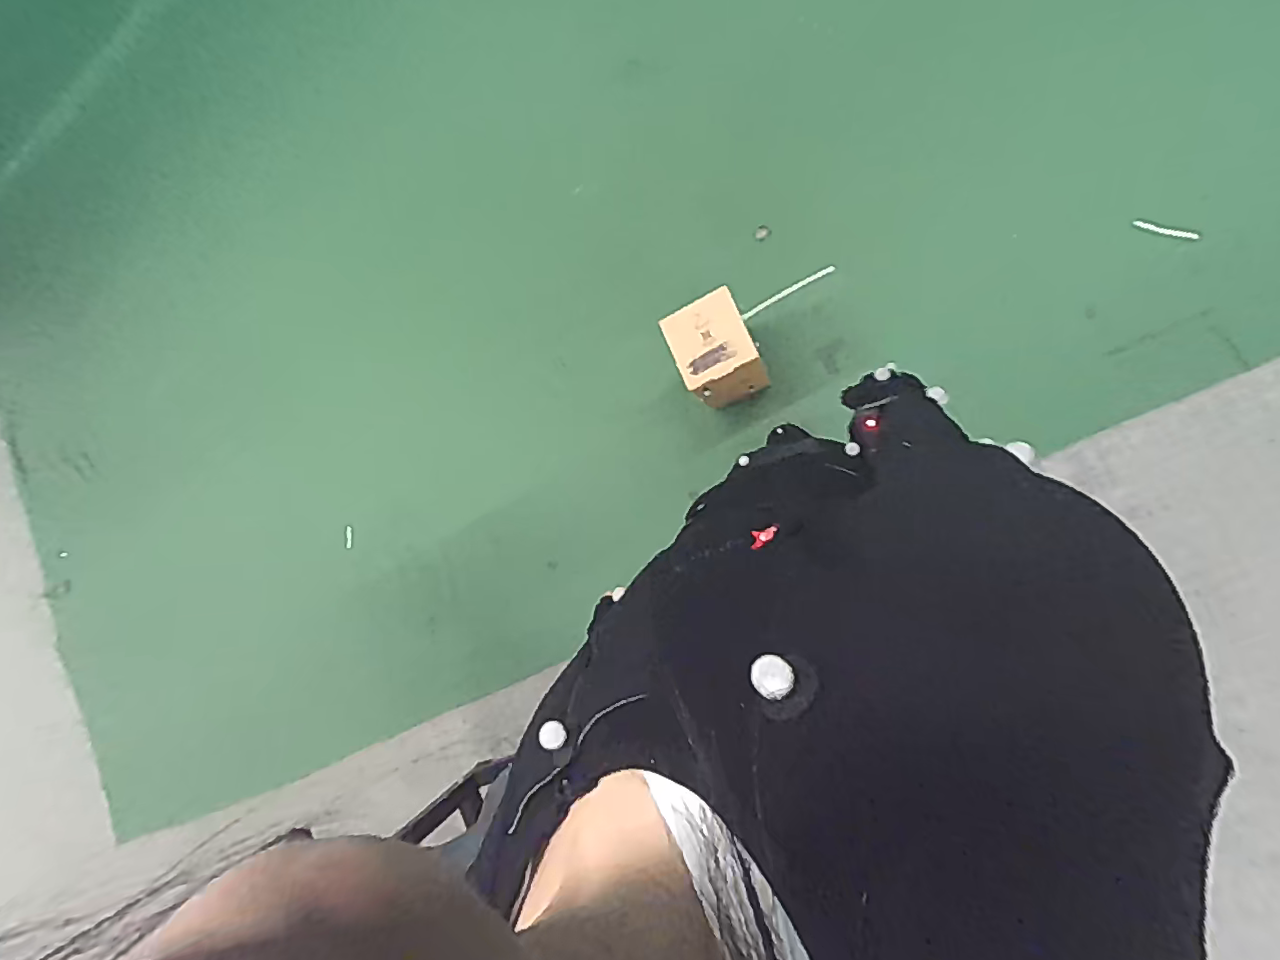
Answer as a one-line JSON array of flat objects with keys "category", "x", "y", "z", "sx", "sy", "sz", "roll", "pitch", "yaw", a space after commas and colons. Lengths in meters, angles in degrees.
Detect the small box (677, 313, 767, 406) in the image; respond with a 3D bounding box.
[{"category": "small box", "x": 0.217, "y": -0.299, "z": 1.396, "sx": 0.168, "sy": 0.176, "sz": 0.179, "roll": -23, "pitch": 83, "yaw": 17}]
